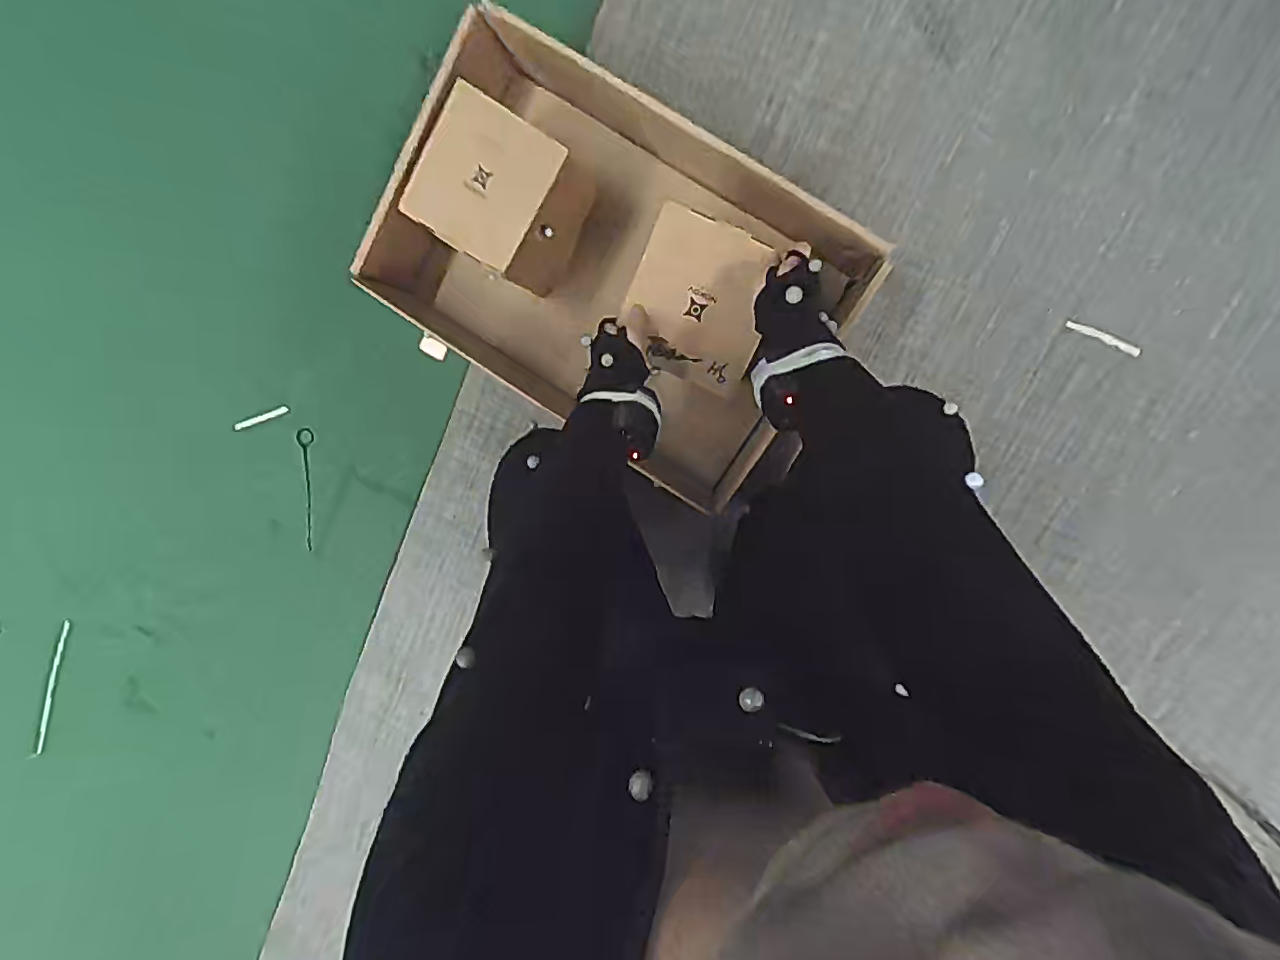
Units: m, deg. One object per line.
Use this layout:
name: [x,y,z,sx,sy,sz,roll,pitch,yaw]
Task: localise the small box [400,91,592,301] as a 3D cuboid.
small box: [-0.187,-0.376,0.756,0.168,0.176,0.179,35,102,1]
